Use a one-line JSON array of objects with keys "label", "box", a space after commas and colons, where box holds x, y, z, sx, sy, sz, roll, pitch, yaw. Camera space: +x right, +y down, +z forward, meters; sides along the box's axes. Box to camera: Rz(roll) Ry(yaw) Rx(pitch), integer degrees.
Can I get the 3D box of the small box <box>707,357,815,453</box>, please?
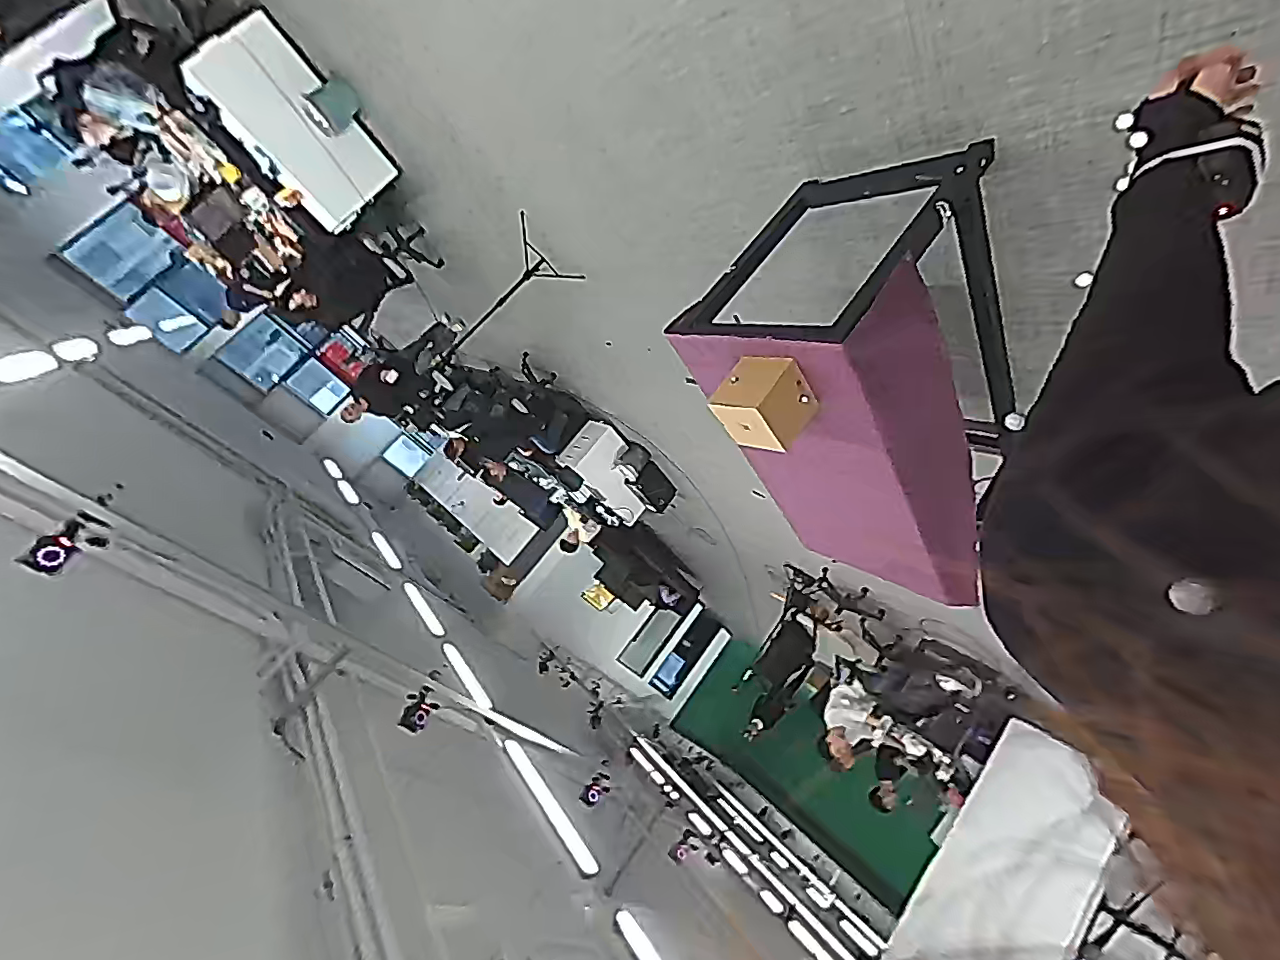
[{"label": "small box", "box": [0.311, -0.197, 1.384, 0.168, 0.176, 0.179, 47, 165, -34]}]
